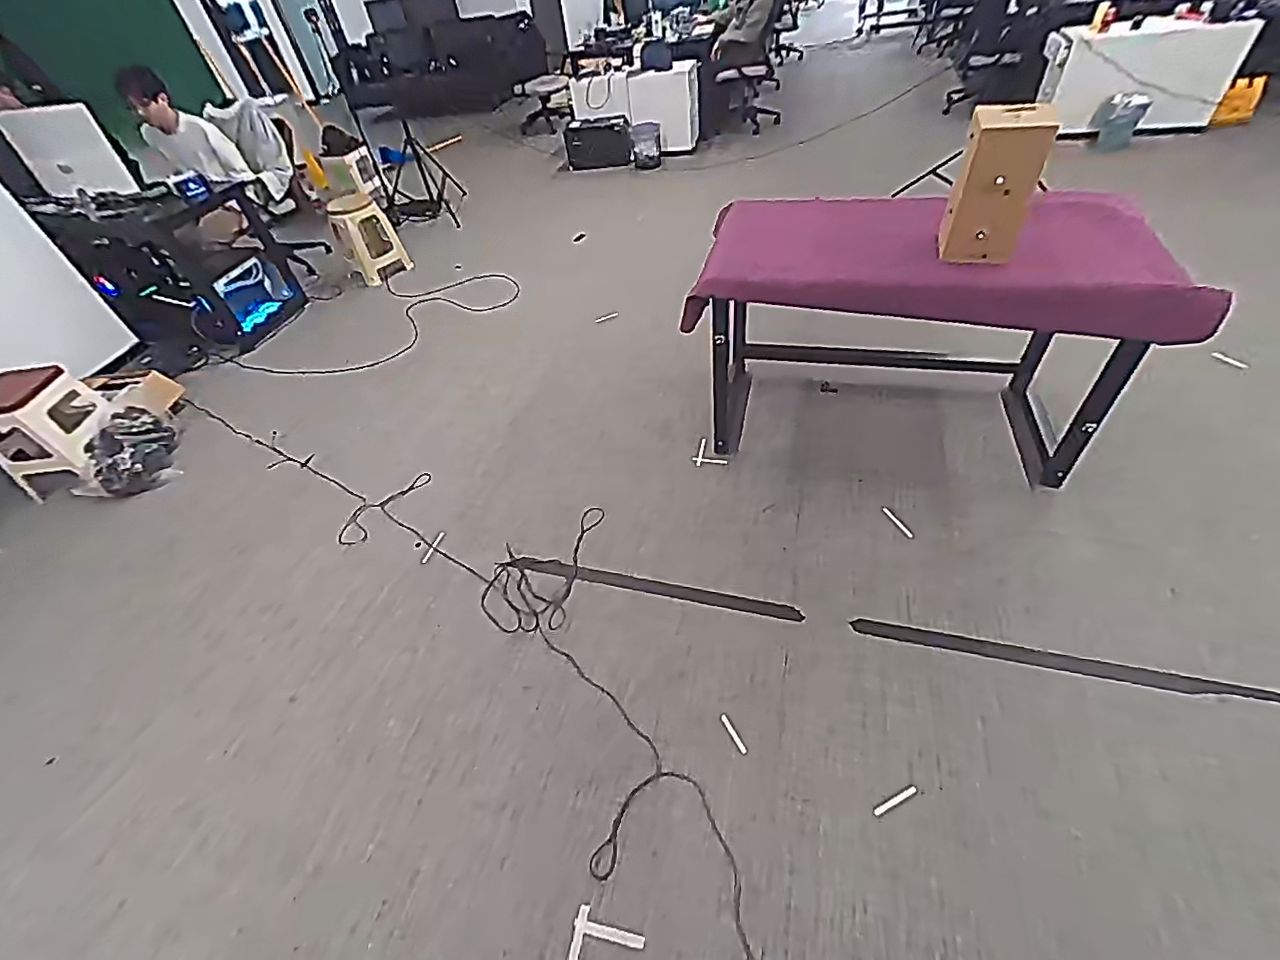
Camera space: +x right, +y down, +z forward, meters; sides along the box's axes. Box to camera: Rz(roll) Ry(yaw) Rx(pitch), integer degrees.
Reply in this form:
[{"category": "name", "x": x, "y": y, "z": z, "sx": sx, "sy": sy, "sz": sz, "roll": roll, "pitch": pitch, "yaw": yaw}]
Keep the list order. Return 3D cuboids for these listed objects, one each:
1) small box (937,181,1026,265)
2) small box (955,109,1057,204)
[{"category": "small box", "x": 0.937, "y": -0.713, "z": 1.501, "sx": 0.168, "sy": 0.176, "sz": 0.179, "roll": 10, "pitch": 48, "yaw": 17}, {"category": "small box", "x": 0.923, "y": -0.829, "z": 1.384, "sx": 0.168, "sy": 0.176, "sz": 0.179, "roll": 9, "pitch": 49, "yaw": 17}]
